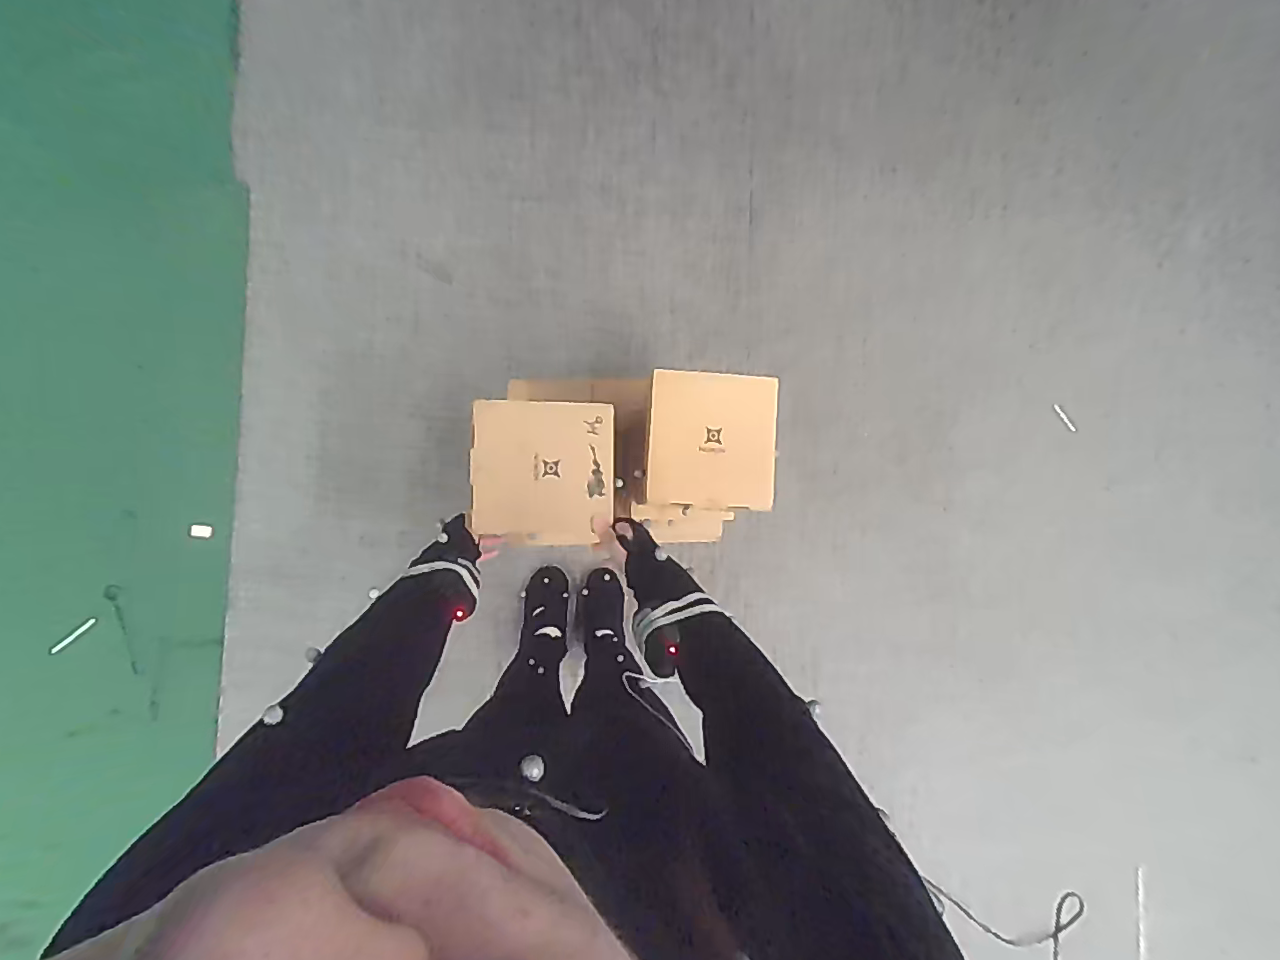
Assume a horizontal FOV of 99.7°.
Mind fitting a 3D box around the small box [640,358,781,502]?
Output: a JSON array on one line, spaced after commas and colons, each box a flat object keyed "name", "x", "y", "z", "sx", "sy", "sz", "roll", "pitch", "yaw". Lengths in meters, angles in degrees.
[{"name": "small box", "x": 0.091, "y": -0.062, "z": 0.777, "sx": 0.168, "sy": 0.176, "sz": 0.179, "roll": 4, "pitch": 88, "yaw": -4}]
